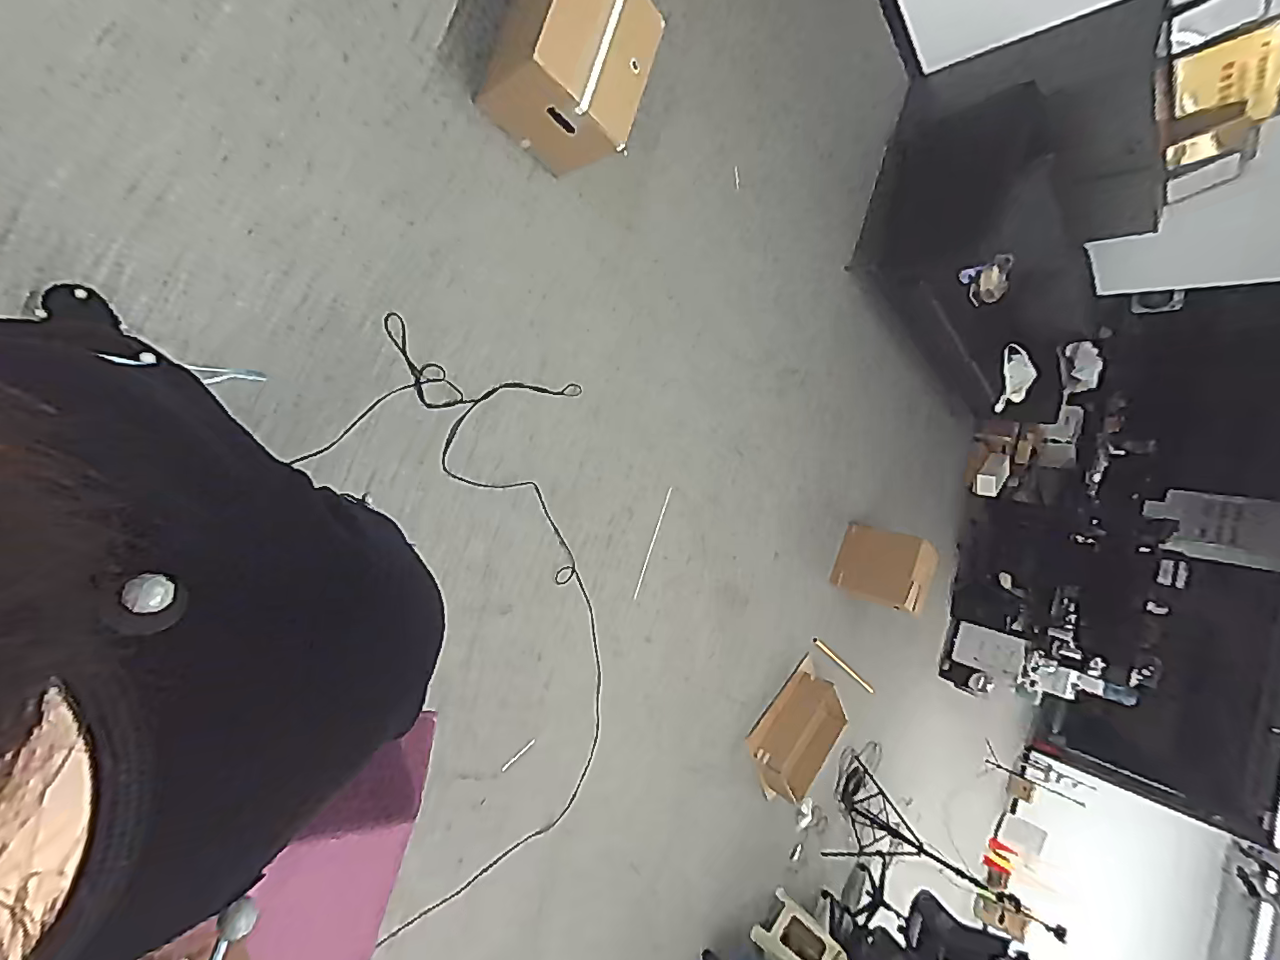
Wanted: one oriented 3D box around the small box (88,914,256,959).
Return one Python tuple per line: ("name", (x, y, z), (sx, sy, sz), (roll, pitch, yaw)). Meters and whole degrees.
("small box", (-0.558, 0.660, 0.619), (0.168, 0.176, 0.179), (24, 82, -44))
